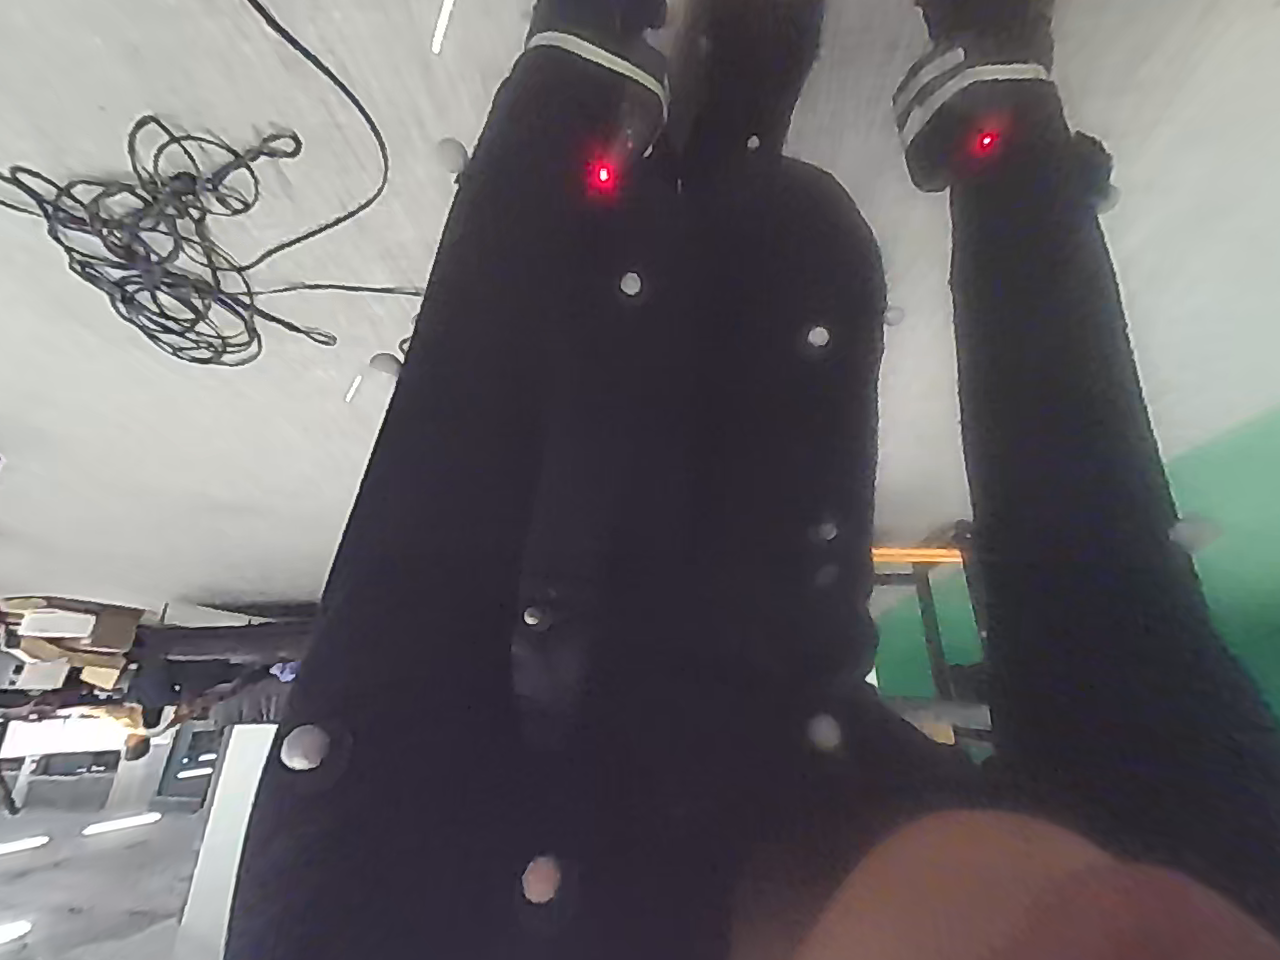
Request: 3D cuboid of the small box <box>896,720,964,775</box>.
[{"bbox_3d":[1.055,0.977,1.984,0.168,0.176,0.179,-3,157,8],"label":"small box"}]
